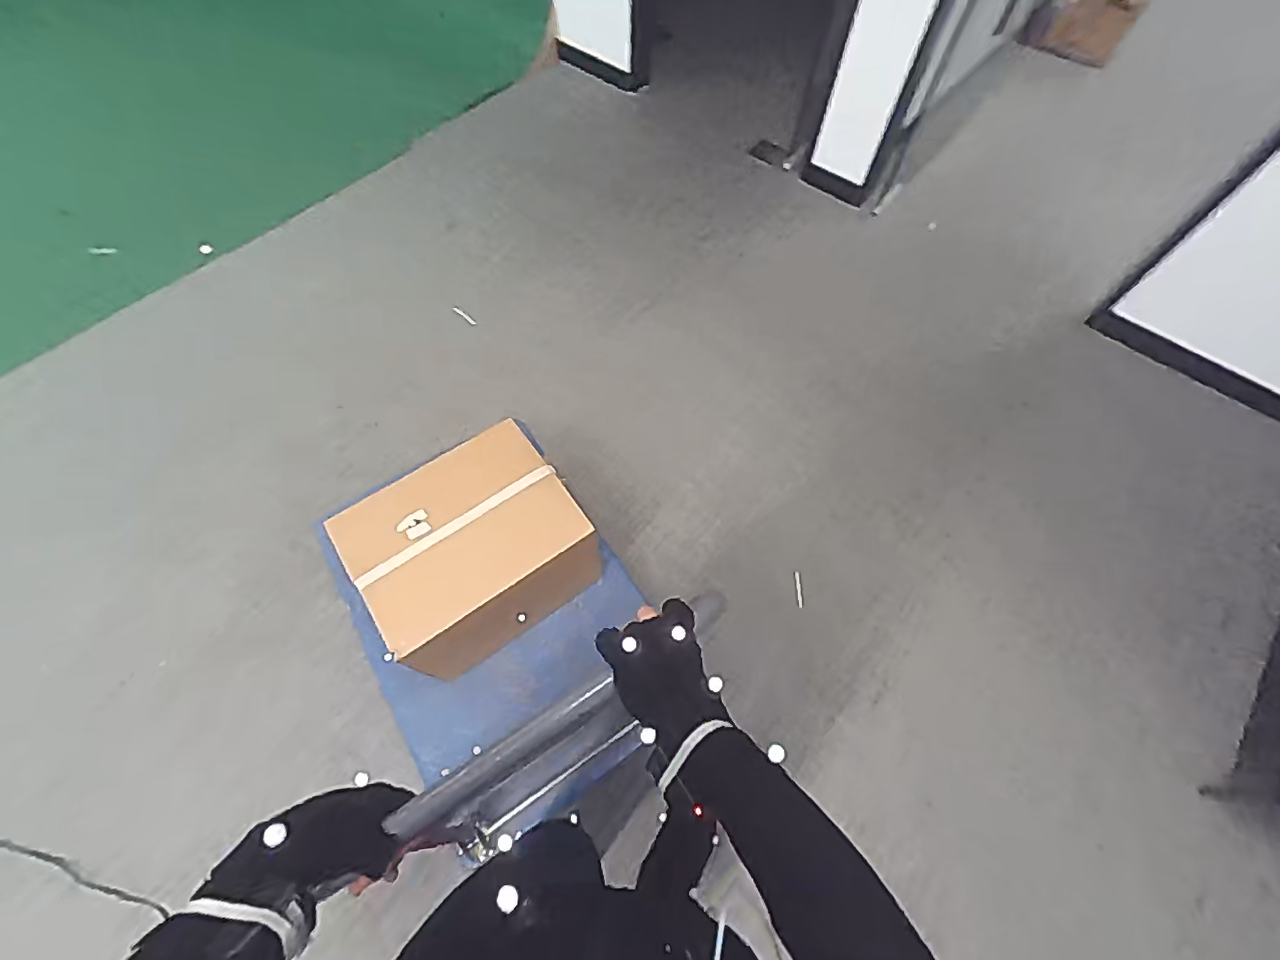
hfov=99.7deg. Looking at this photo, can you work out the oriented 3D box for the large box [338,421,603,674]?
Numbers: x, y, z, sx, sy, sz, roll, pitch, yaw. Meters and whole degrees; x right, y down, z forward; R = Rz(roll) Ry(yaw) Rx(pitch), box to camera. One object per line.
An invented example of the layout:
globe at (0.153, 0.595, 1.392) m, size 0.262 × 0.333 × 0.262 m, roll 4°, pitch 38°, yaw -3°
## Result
large box at (-0.328, 0.153, 1.158) m, size 0.408 × 0.320 × 0.320 m, roll -34°, pitch 69°, yaw -16°
